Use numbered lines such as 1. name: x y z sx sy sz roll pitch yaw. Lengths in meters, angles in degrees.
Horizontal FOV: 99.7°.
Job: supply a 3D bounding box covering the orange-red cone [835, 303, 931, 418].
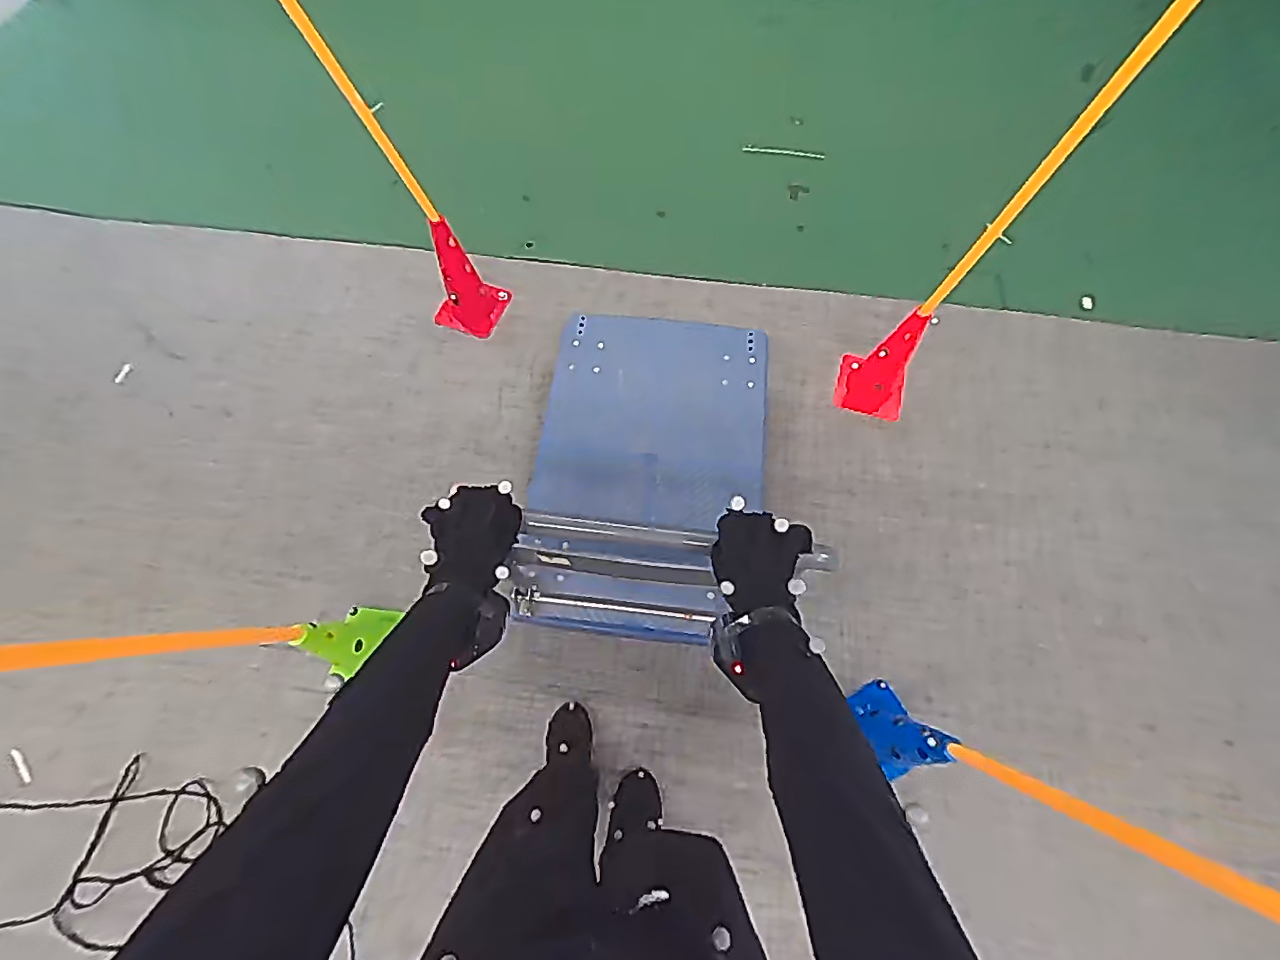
1. orange-red cone: 0.704 -0.354 1.492 0.198 0.360 0.199 17 70 8
